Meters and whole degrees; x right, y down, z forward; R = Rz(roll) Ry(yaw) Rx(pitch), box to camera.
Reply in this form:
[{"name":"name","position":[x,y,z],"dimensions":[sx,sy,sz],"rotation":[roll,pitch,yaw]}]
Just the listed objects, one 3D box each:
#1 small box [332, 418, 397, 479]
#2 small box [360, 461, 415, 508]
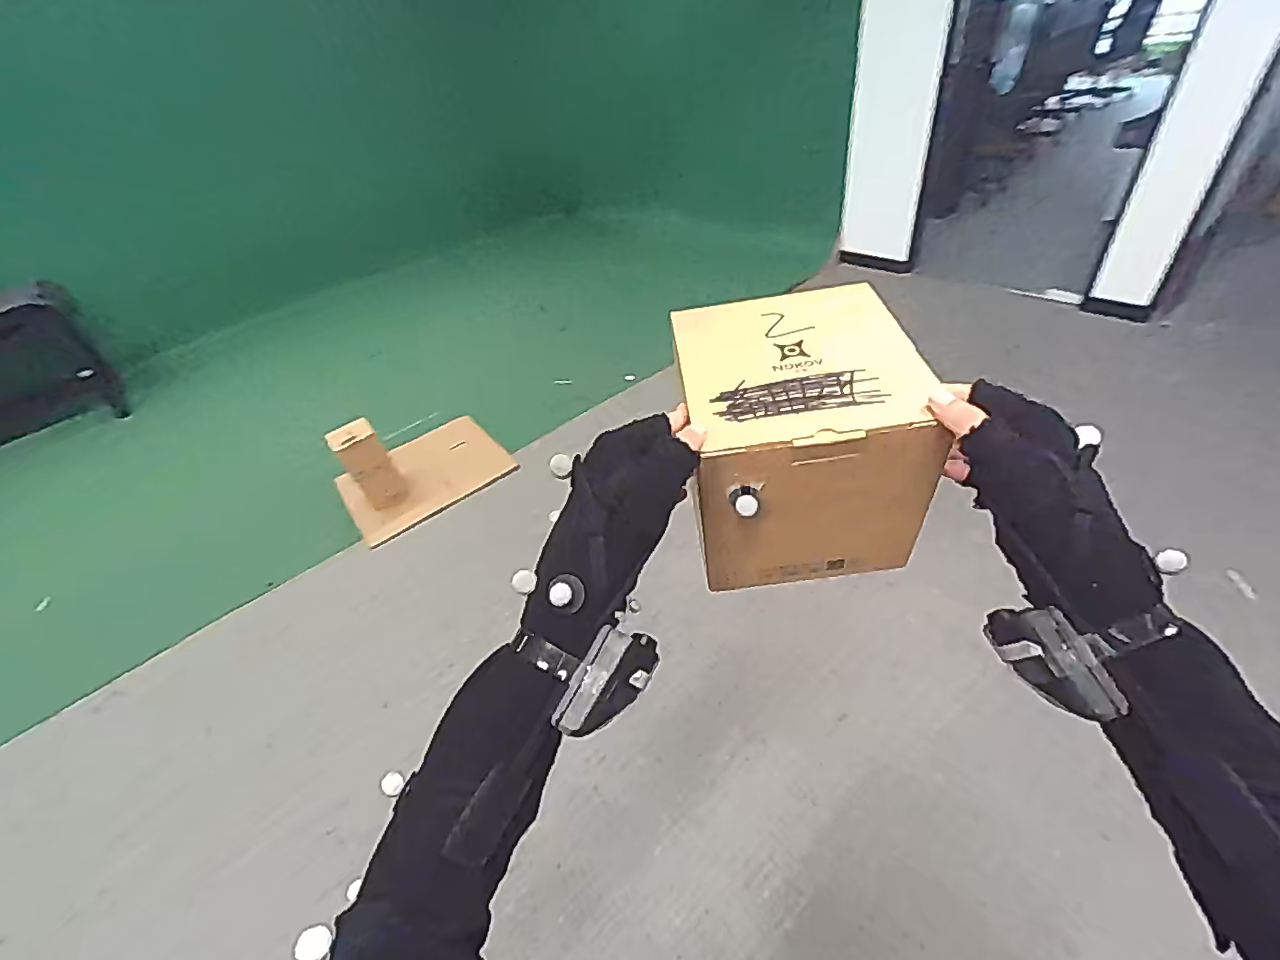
[{"name":"small box","position":[-1.152,-0.126,2.268],"dimensions":[0.168,0.176,0.179],"rotation":[-32,44,-21]},{"name":"small box","position":[-1.124,-0.005,2.376],"dimensions":[0.168,0.176,0.179],"rotation":[-34,46,-22]}]
